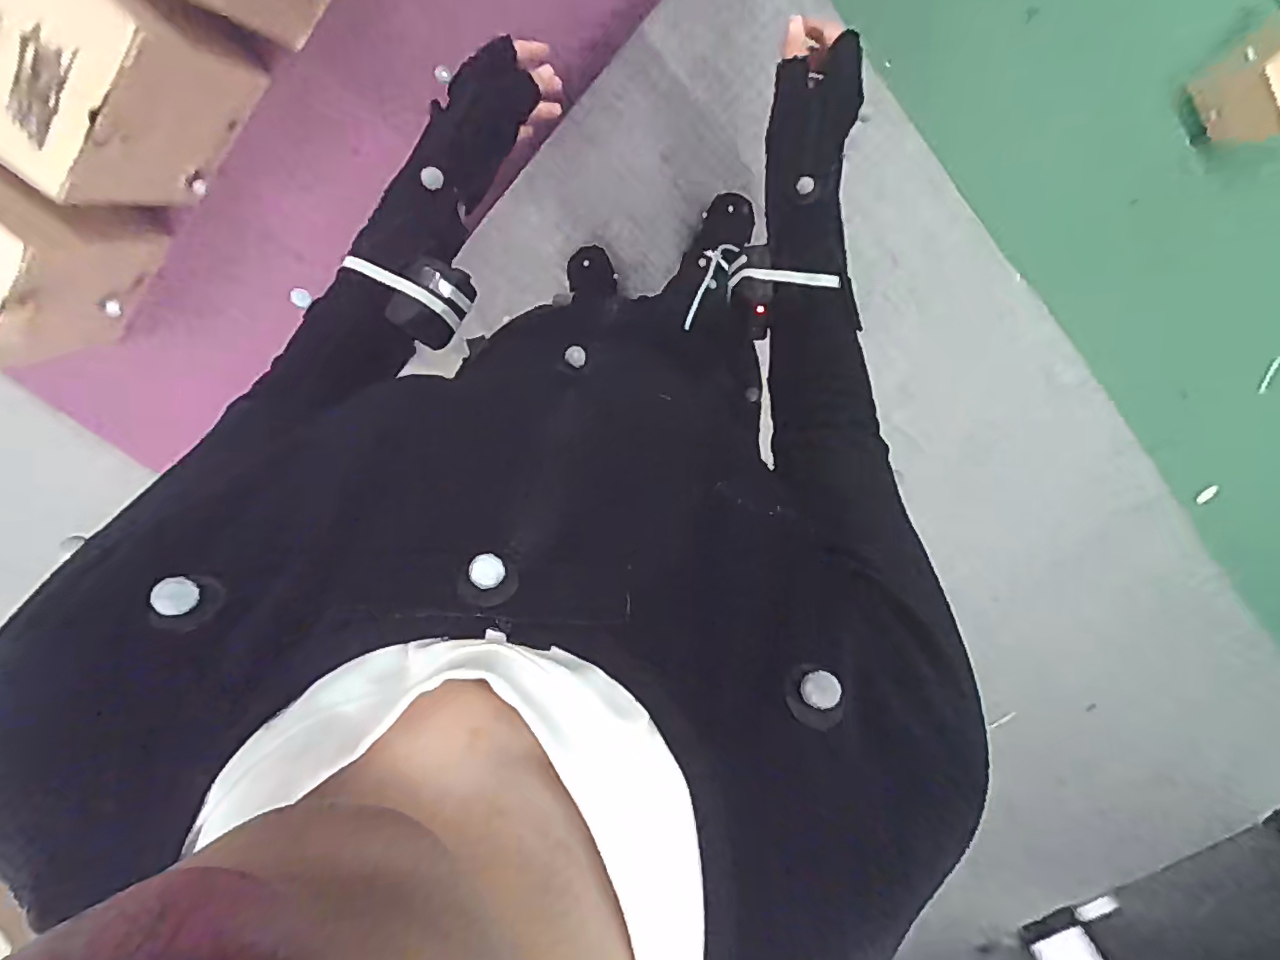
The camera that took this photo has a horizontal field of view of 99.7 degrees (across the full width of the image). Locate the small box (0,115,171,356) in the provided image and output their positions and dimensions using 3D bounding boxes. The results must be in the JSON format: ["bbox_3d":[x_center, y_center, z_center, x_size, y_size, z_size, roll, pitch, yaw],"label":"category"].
[{"bbox_3d":[-0.642,-0.244,0.537,0.168,0.176,0.179,-42,110,18],"label":"small box"}]
